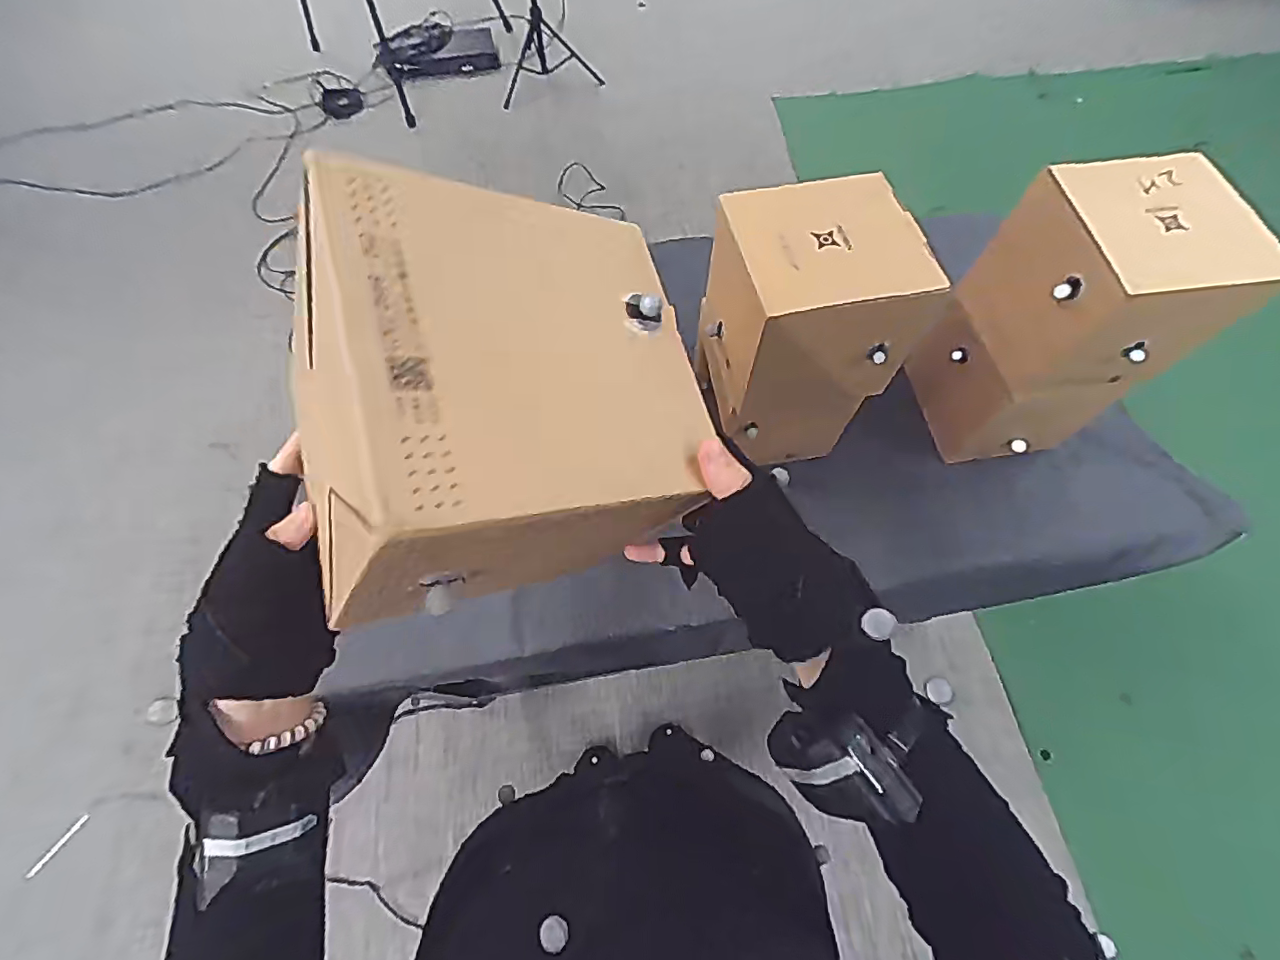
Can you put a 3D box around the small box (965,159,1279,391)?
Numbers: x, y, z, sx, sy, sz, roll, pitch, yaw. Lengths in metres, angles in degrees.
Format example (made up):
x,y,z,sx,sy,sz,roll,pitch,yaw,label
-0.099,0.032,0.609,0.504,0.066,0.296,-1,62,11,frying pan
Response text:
x,y,z,sx,sy,sz,roll,pitch,yaw,label
0.503,-0.212,0.594,0.168,0.176,0.179,-6,65,-2,small box

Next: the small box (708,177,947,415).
x,y,z,sx,sy,sz,roll,pitch,yaw,label
0.183,-0.191,0.590,0.179,0.176,0.168,-10,64,-4,small box

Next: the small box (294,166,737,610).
x,y,z,sx,sy,sz,roll,pitch,yaw,label
-0.084,-0.034,0.307,0.176,0.179,0.168,-6,71,-40,small box
